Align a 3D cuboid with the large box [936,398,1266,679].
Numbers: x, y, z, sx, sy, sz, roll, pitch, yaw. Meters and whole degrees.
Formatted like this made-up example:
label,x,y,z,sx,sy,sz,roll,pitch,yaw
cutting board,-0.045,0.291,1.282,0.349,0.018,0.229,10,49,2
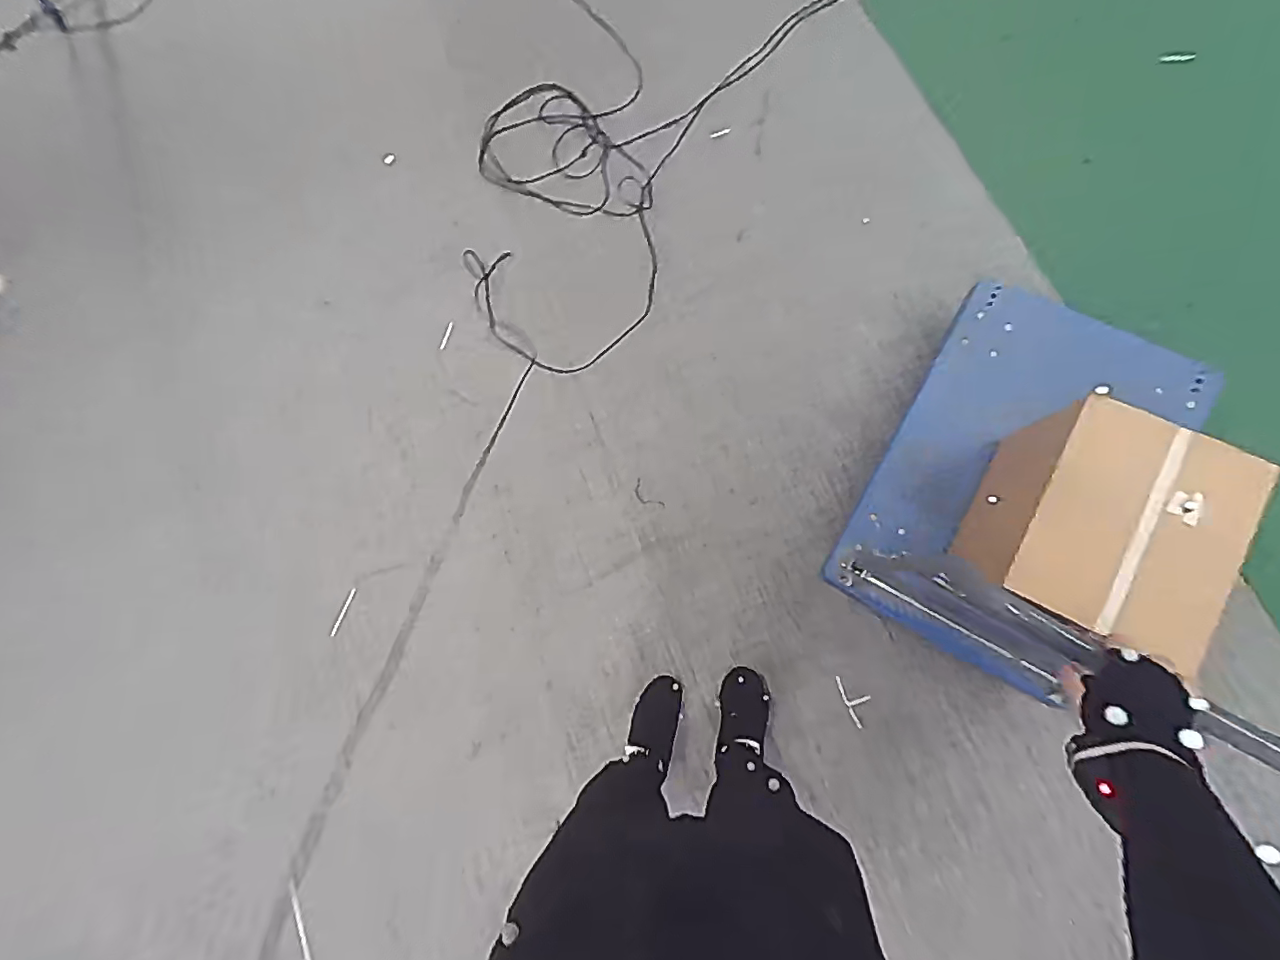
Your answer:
label,x,y,z,sx,sy,sz,roll,pitch,yaw
large box,0.868,0.121,1.074,0.320,0.320,0.408,28,82,11
